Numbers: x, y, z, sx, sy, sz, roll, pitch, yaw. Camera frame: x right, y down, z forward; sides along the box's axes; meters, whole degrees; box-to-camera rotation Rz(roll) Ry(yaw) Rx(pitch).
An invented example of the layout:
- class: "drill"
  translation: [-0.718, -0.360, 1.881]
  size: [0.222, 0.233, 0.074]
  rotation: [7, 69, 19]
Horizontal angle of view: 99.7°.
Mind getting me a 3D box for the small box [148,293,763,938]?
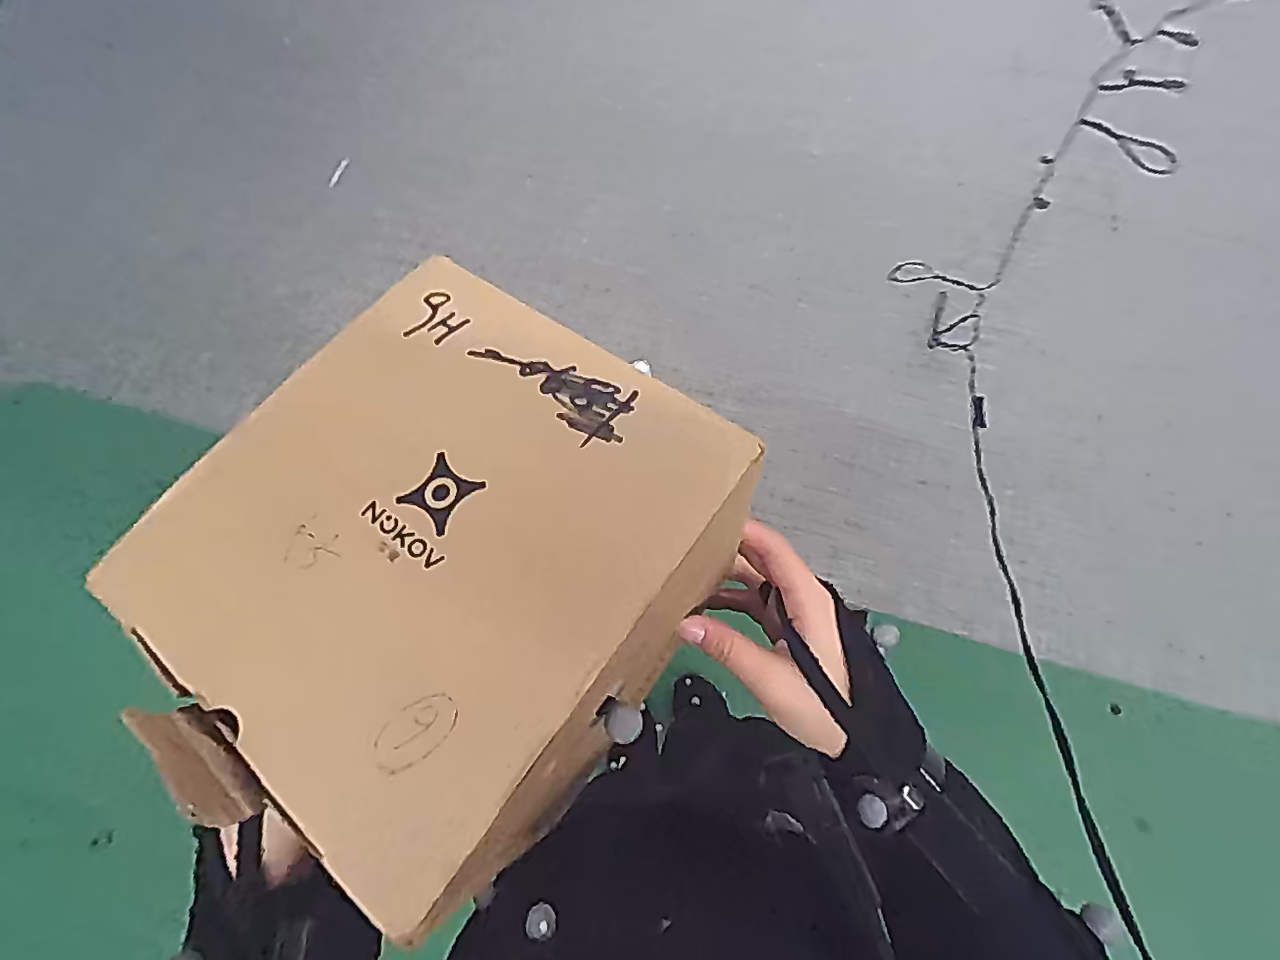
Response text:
- class: "small box"
  translation: [-0.060, 0.054, 0.269]
  size: [0.168, 0.176, 0.179]
  rotation: [33, 74, 18]
